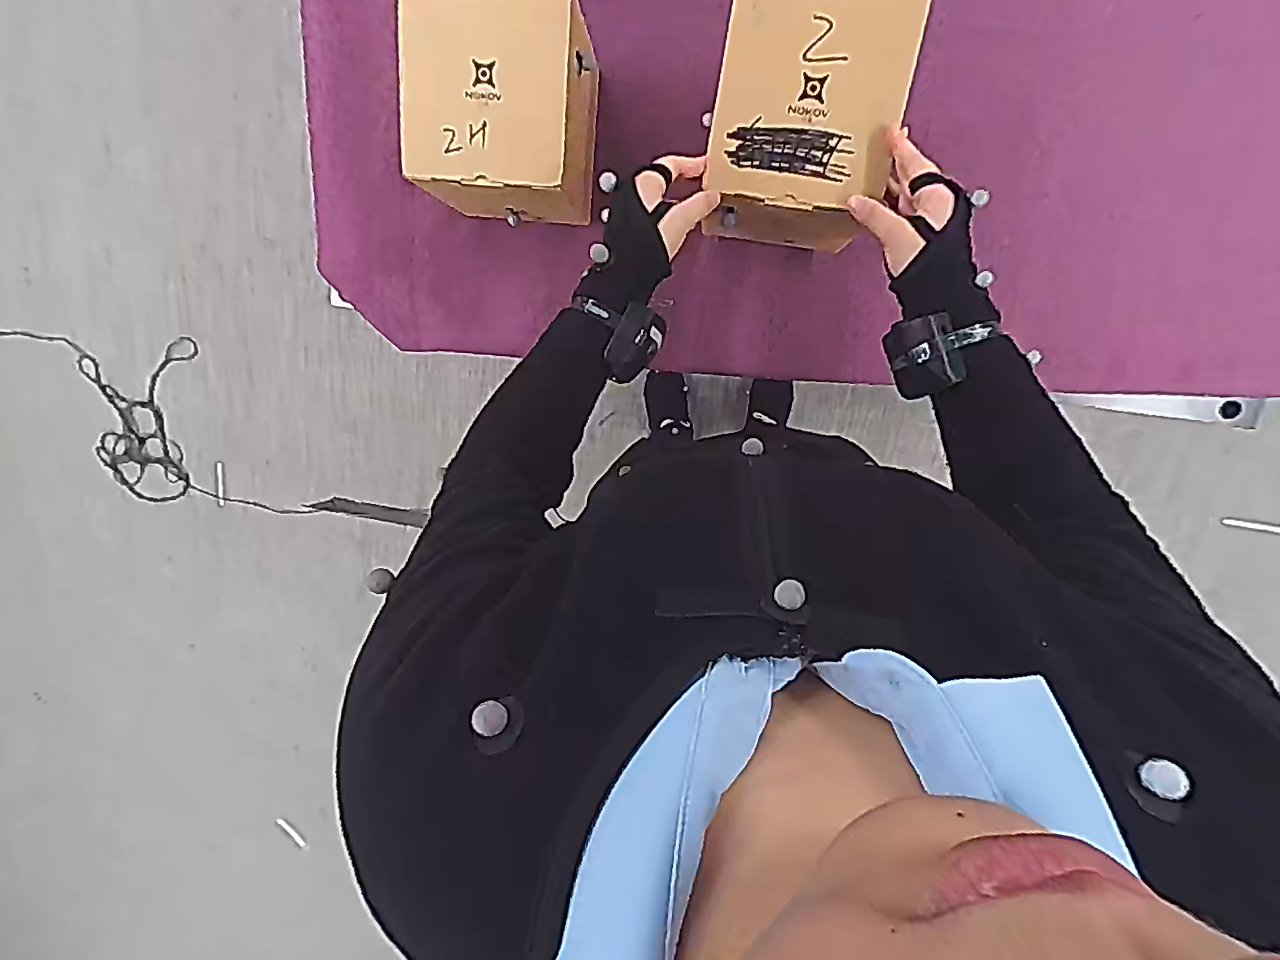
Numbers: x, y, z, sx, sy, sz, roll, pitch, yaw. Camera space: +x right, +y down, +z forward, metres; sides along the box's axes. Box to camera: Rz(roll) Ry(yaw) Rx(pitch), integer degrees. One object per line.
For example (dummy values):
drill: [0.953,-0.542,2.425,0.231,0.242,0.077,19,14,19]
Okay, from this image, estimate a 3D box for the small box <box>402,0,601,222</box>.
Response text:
small box: [-0.137,-0.398,0.586,0.168,0.176,0.179,6,105,3]
